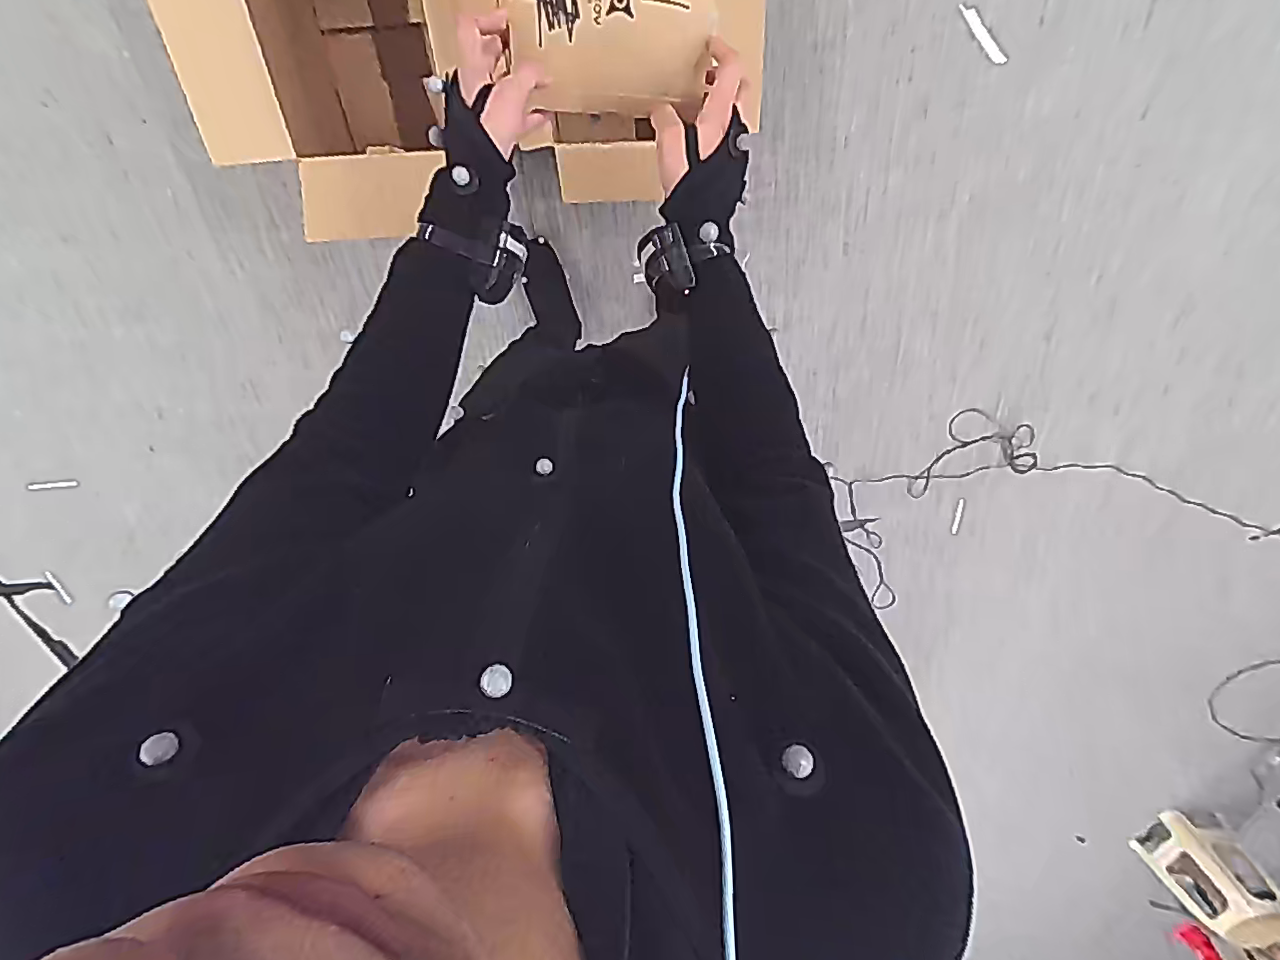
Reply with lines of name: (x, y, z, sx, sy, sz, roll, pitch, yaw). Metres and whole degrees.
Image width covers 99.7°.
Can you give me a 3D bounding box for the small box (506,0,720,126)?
small box: (-0.023, -0.442, 0.494, 0.179, 0.176, 0.168, 3, 132, -4)
